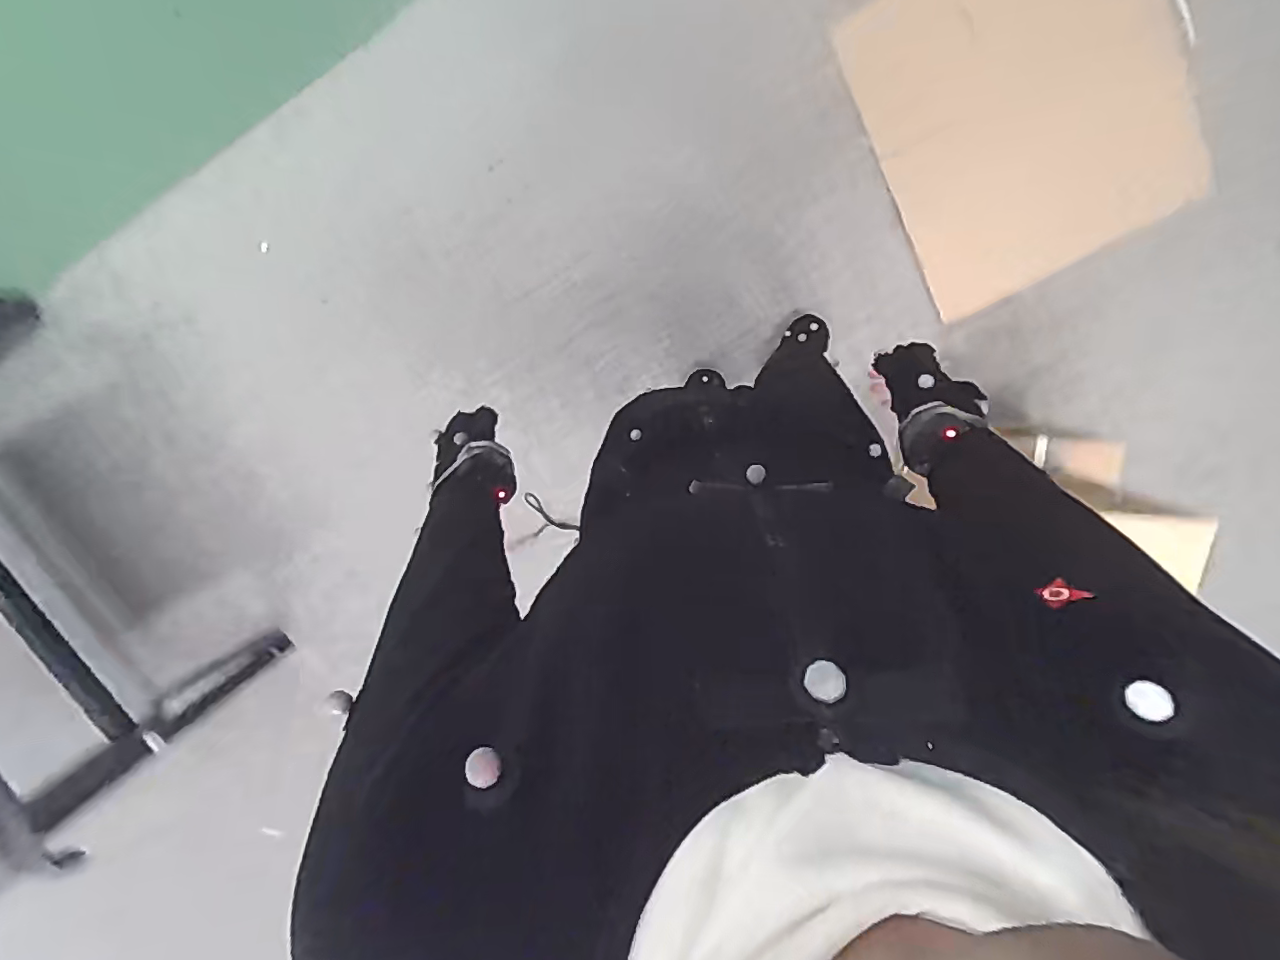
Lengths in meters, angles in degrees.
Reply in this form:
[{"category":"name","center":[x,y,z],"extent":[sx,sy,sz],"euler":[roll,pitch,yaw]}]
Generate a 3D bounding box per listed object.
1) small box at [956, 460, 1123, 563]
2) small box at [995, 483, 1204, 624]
[{"category":"small box","center":[0.721,0.067,1.000],"extent":[0.168,0.176,0.179],"euler":[7,105,3]},{"category":"small box","center":[0.690,0.104,0.840],"extent":[0.179,0.176,0.168],"euler":[2,104,7]}]
